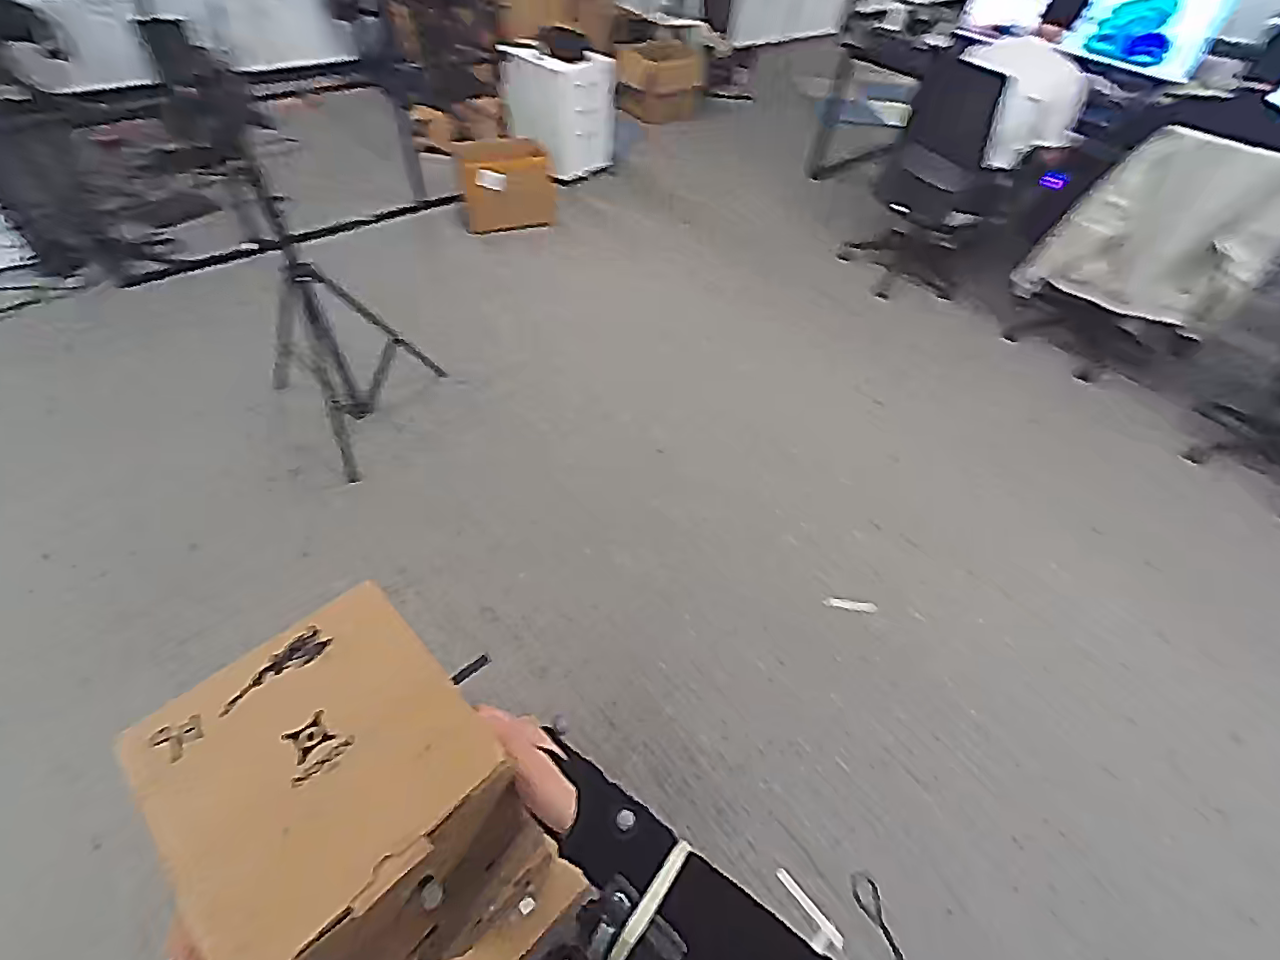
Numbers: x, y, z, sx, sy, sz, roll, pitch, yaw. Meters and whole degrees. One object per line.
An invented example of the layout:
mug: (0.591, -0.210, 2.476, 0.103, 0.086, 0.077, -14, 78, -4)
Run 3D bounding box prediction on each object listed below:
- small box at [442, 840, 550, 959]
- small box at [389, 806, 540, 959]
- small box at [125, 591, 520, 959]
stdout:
small box: (-0.243, 0.537, 0.776, 0.179, 0.176, 0.168, 39, 56, 24)
small box: (-0.234, 0.433, 0.648, 0.179, 0.176, 0.168, 36, 55, 21)
small box: (-0.204, 0.222, 0.396, 0.179, 0.176, 0.168, 40, 56, 23)
